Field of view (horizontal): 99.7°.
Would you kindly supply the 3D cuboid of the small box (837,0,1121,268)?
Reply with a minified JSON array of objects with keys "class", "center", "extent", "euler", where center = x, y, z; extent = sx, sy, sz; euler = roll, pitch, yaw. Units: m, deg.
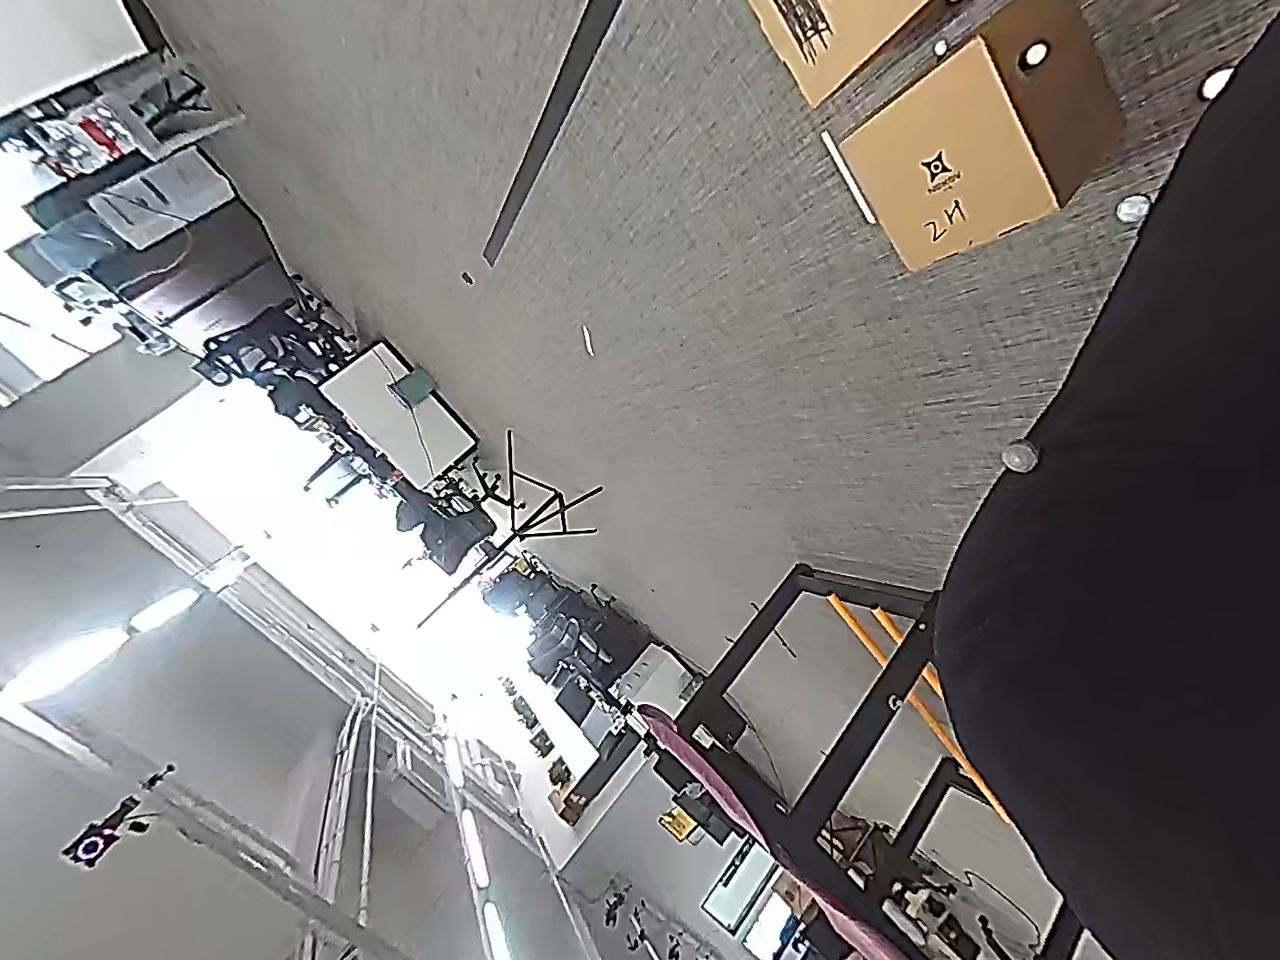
[{"class":"small box","center":[0.355,-0.370,0.572],"extent":[0.179,0.176,0.168],"euler":[49,161,-16]}]
